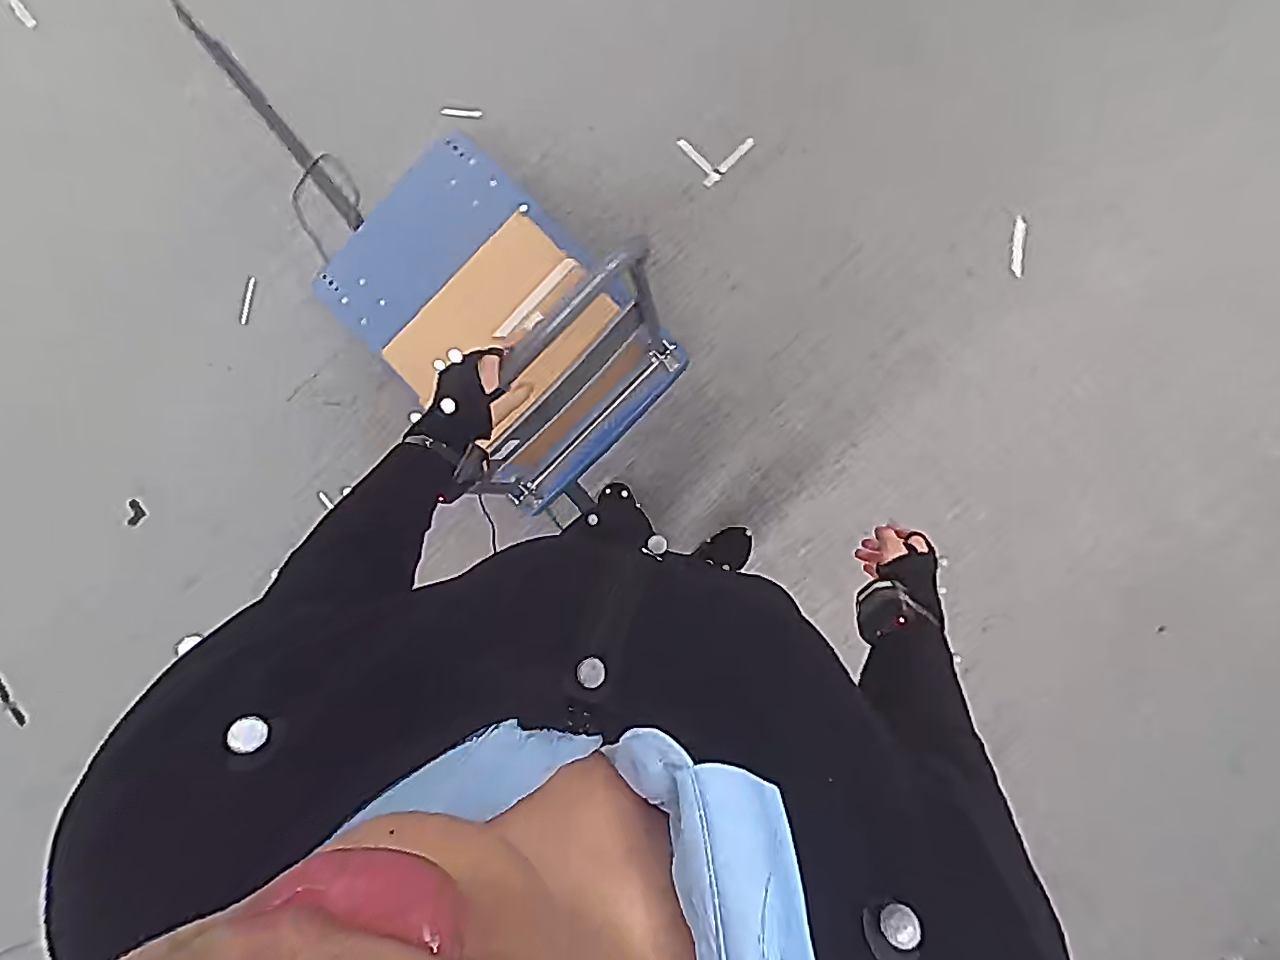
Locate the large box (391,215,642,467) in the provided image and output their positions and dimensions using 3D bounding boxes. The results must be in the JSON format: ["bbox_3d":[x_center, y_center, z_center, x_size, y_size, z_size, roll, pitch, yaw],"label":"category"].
[{"bbox_3d":[-0.251,-0.280,1.222,0.408,0.320,0.320,-44,86,3],"label":"large box"}]
